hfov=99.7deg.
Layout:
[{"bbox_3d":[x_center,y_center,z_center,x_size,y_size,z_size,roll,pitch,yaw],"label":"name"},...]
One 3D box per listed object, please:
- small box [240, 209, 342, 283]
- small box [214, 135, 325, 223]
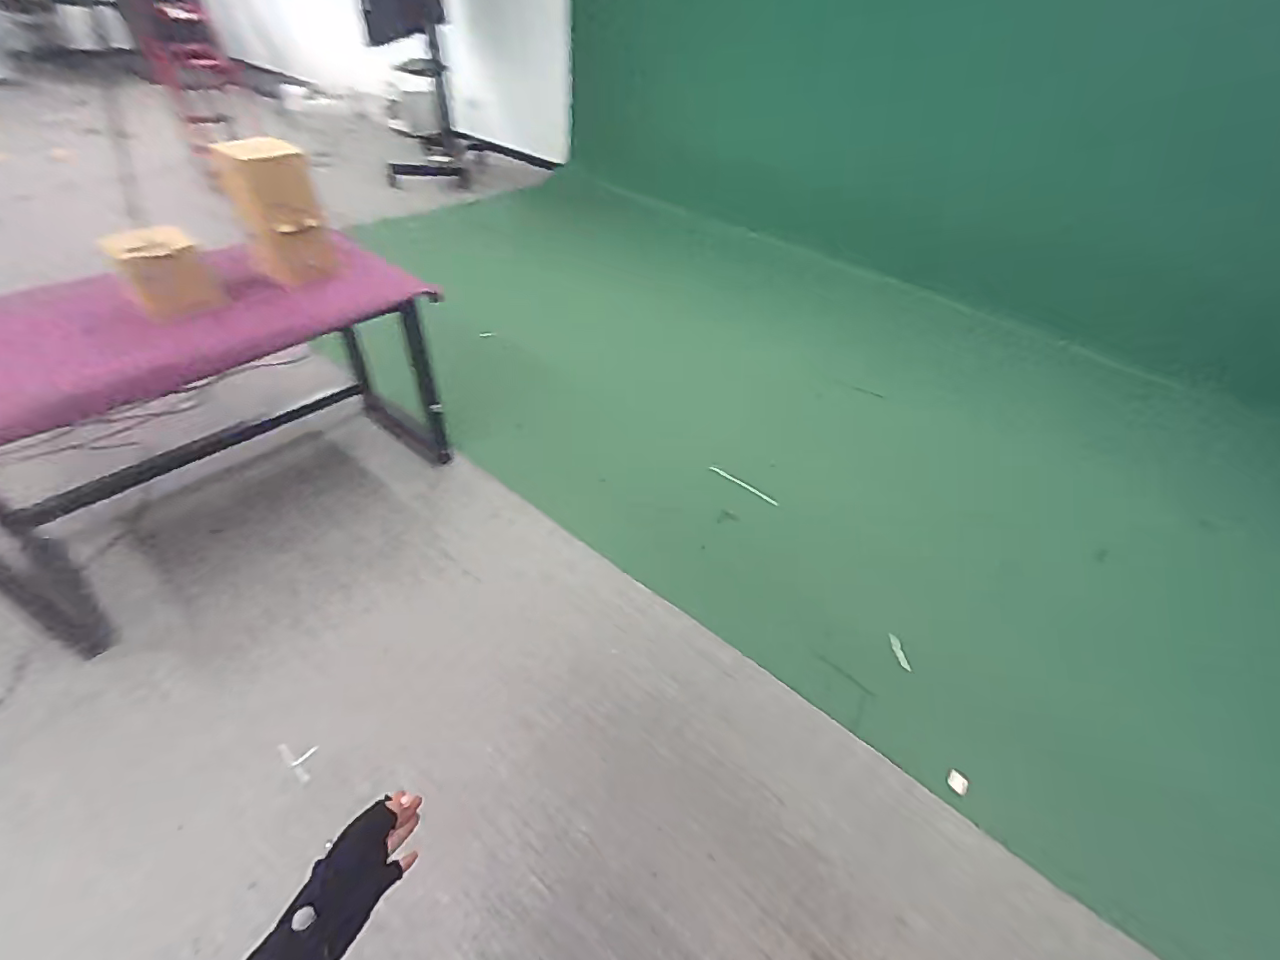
[{"bbox_3d":[-1.021,-0.704,1.592,0.179,0.176,0.168,31,50,23],"label":"small box"},{"bbox_3d":[-1.009,-0.824,1.483,0.179,0.176,0.168,32,49,23],"label":"small box"}]
